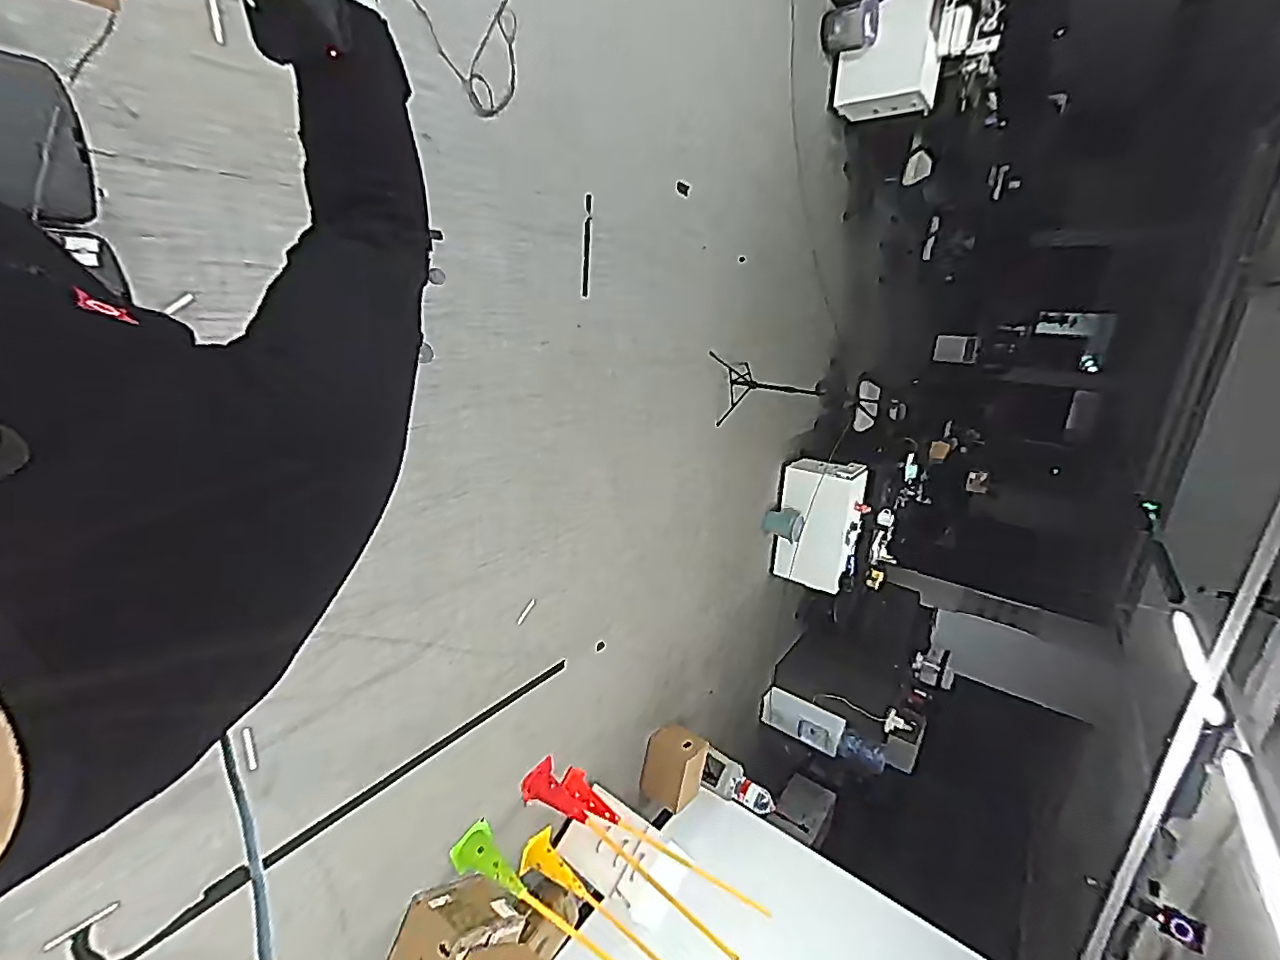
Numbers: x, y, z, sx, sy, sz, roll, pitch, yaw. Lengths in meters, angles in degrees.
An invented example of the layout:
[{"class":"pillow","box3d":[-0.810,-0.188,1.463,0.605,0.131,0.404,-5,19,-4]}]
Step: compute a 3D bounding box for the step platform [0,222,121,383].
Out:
[{"class":"step platform","box3d":[-1.321,-0.287,0.880,0.684,0.204,0.286,-22,119,-47]}]
